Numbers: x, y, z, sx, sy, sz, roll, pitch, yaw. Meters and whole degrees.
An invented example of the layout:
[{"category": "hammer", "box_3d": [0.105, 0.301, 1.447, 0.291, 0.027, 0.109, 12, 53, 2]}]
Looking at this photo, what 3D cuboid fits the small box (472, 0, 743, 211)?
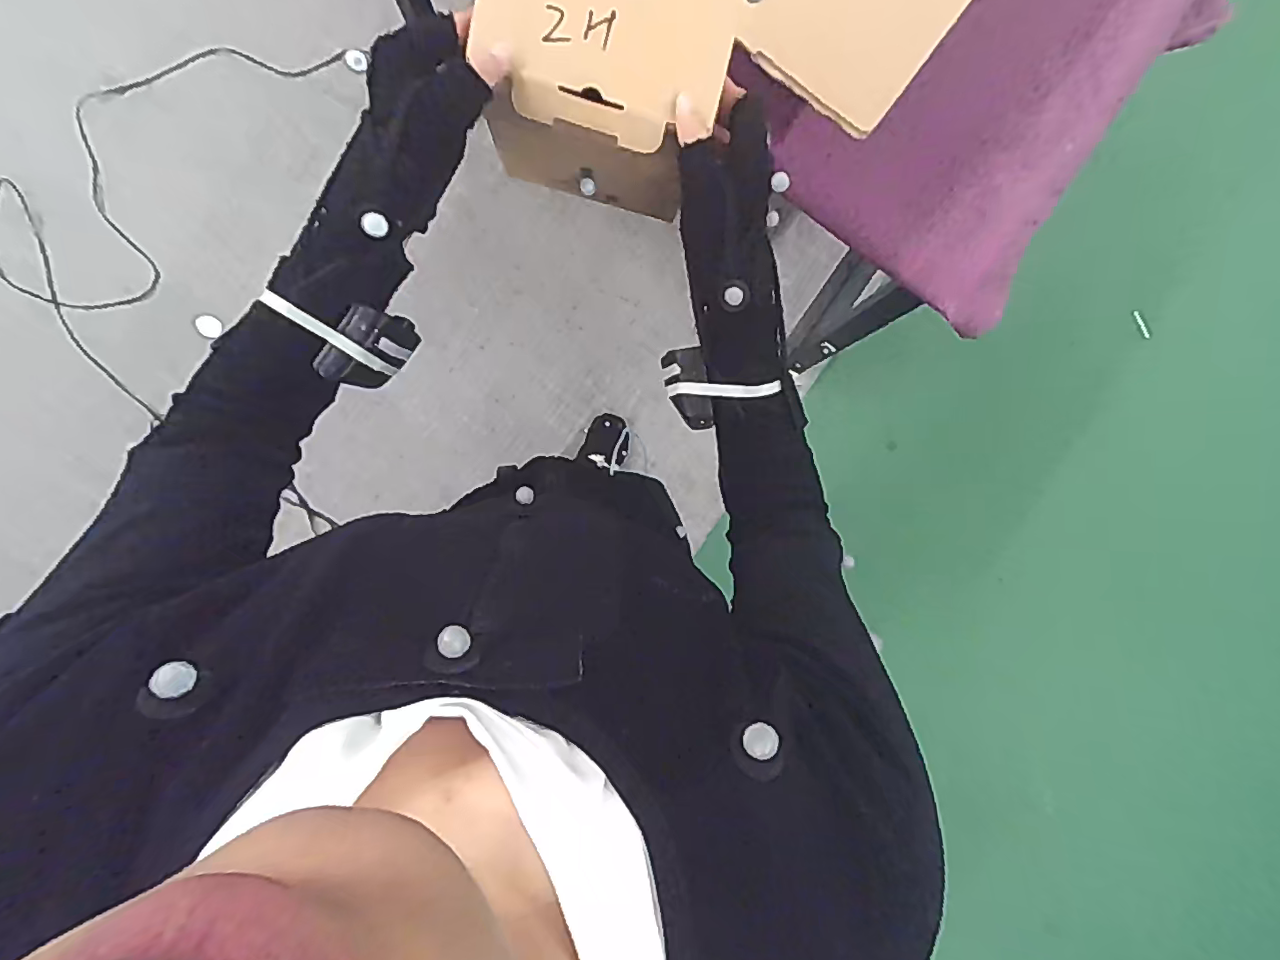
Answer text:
[{"category": "small box", "box_3d": [-0.017, -0.349, 0.427, 0.168, 0.176, 0.179, 14, 96, -7]}]
